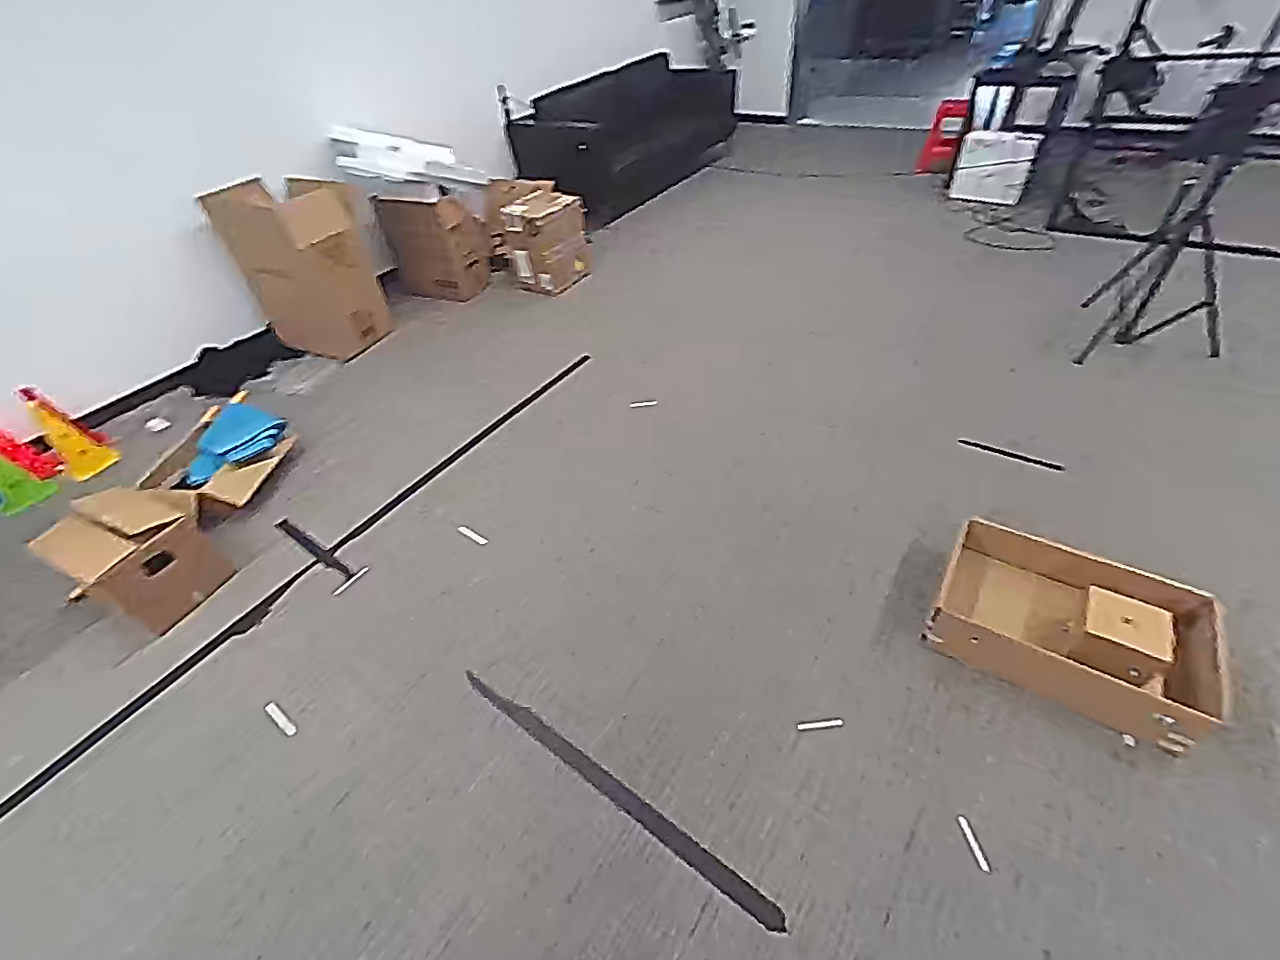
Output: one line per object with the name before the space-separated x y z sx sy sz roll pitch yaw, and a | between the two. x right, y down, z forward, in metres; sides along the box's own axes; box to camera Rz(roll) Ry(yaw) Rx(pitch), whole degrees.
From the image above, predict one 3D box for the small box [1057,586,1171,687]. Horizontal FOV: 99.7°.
small box | 1.252 0.420 1.434 0.179 0.176 0.168 20 49 28
